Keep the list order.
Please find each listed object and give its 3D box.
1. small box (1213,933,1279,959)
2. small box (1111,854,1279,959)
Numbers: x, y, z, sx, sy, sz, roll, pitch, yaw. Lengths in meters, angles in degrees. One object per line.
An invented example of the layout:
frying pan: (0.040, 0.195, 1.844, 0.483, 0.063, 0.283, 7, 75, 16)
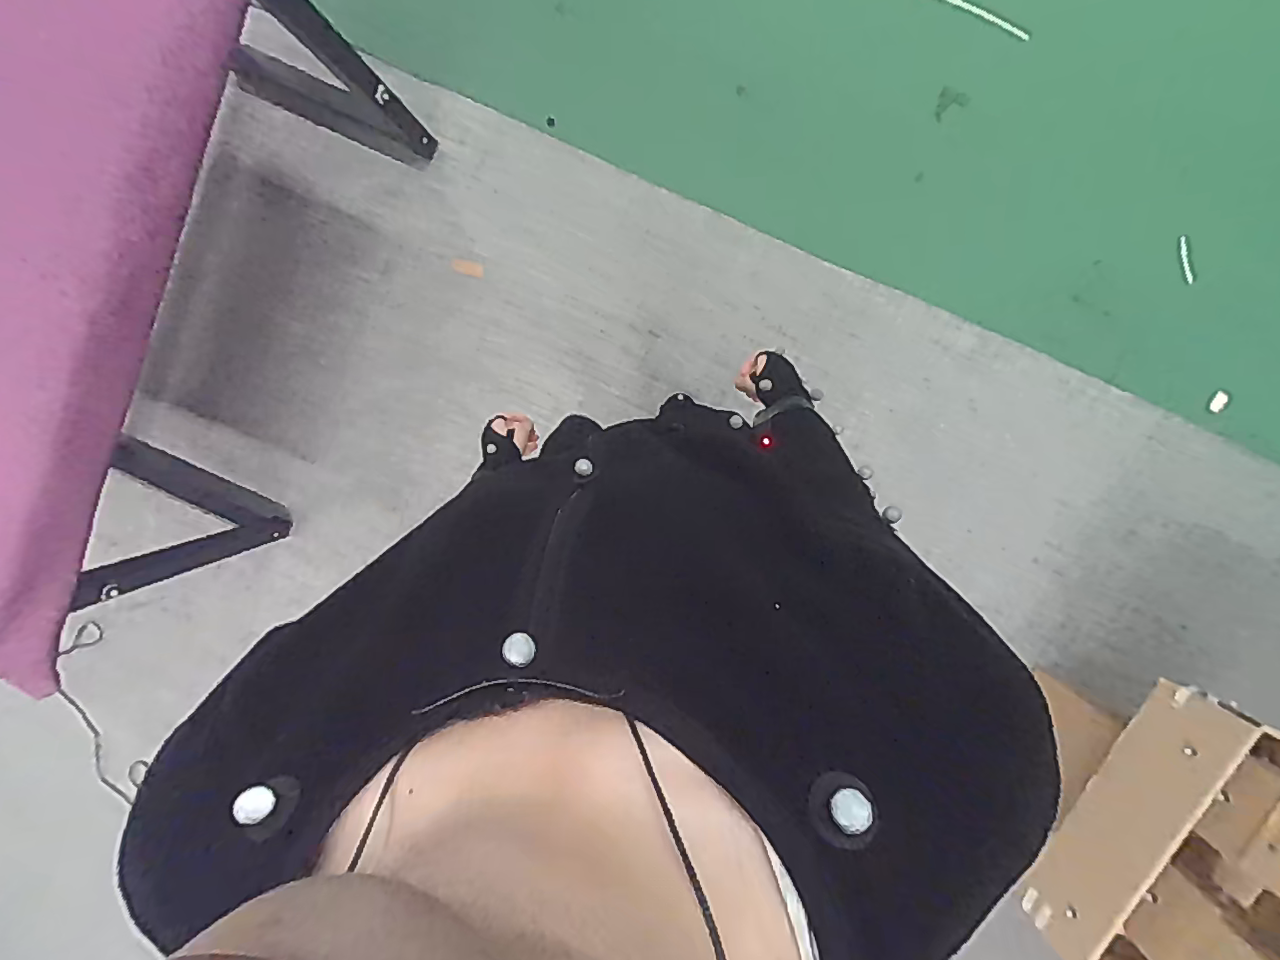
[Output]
small box: (1.063, 0.905, 0.880, 0.168, 0.176, 0.179, 29, 99, 0)
small box: (1.082, 0.873, 1.040, 0.179, 0.176, 0.168, 30, 99, -1)
